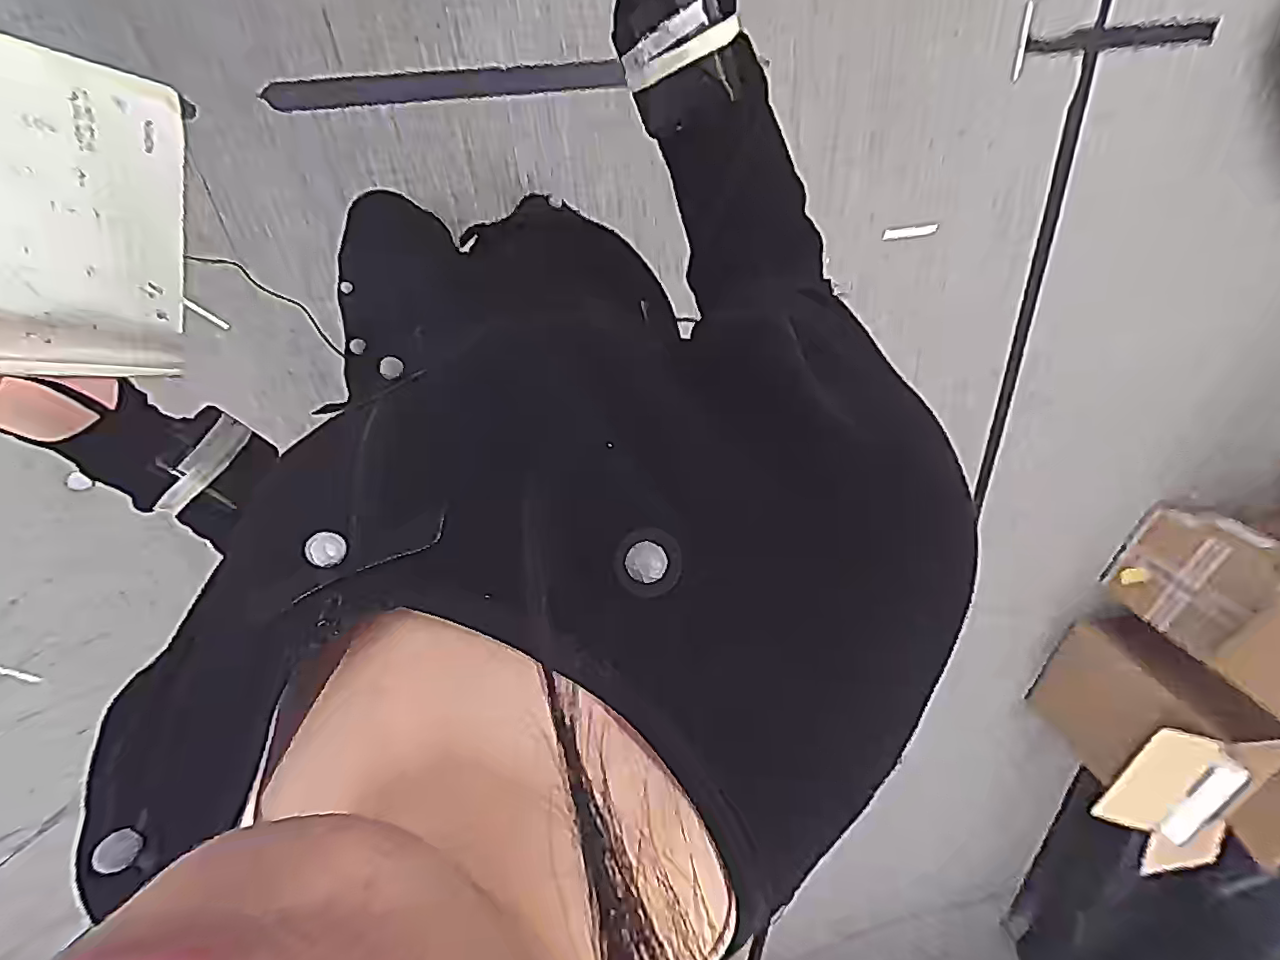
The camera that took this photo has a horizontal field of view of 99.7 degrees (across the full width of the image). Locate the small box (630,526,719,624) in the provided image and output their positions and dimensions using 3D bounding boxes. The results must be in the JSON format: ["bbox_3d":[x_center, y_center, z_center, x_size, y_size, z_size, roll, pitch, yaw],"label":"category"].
[{"bbox_3d":[0.087,0.262,1.518,0.168,0.176,0.179,35,109,-25],"label":"small box"}]
